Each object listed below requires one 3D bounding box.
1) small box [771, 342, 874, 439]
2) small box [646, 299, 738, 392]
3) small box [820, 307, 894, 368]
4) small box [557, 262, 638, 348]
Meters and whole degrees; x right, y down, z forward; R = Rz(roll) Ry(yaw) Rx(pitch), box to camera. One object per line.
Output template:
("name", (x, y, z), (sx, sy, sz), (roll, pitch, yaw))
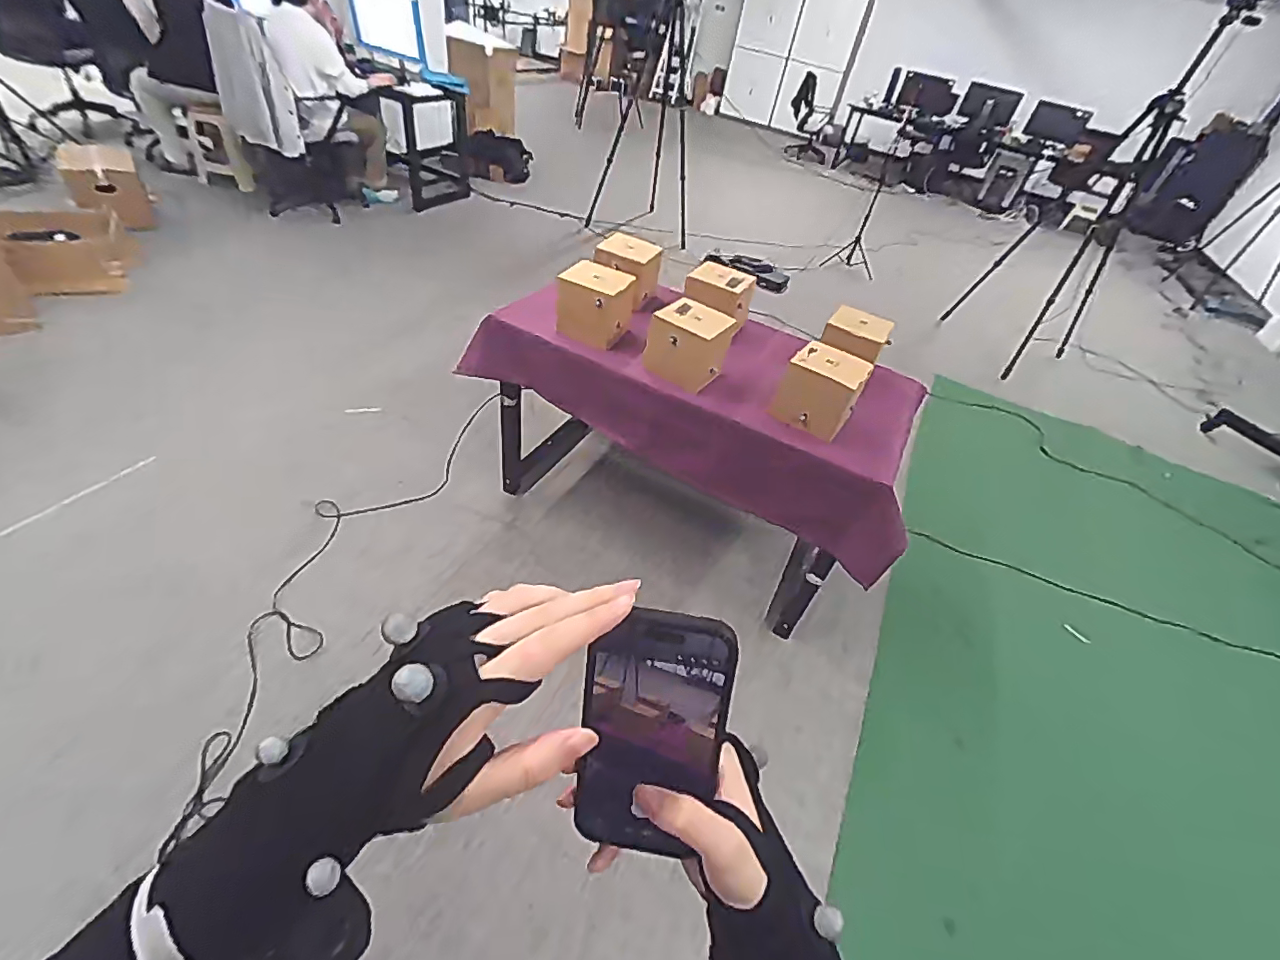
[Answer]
("small box", (0.474, -0.230, 1.420), (0.179, 0.176, 0.168), (32, 45, 19))
("small box", (0.137, -0.369, 1.488), (0.179, 0.176, 0.168), (31, 45, 18))
("small box", (0.635, -0.393, 1.634), (0.168, 0.176, 0.179), (28, 45, 17))
("small box", (-0.128, -0.509, 1.577), (0.179, 0.176, 0.168), (23, 43, 9))
